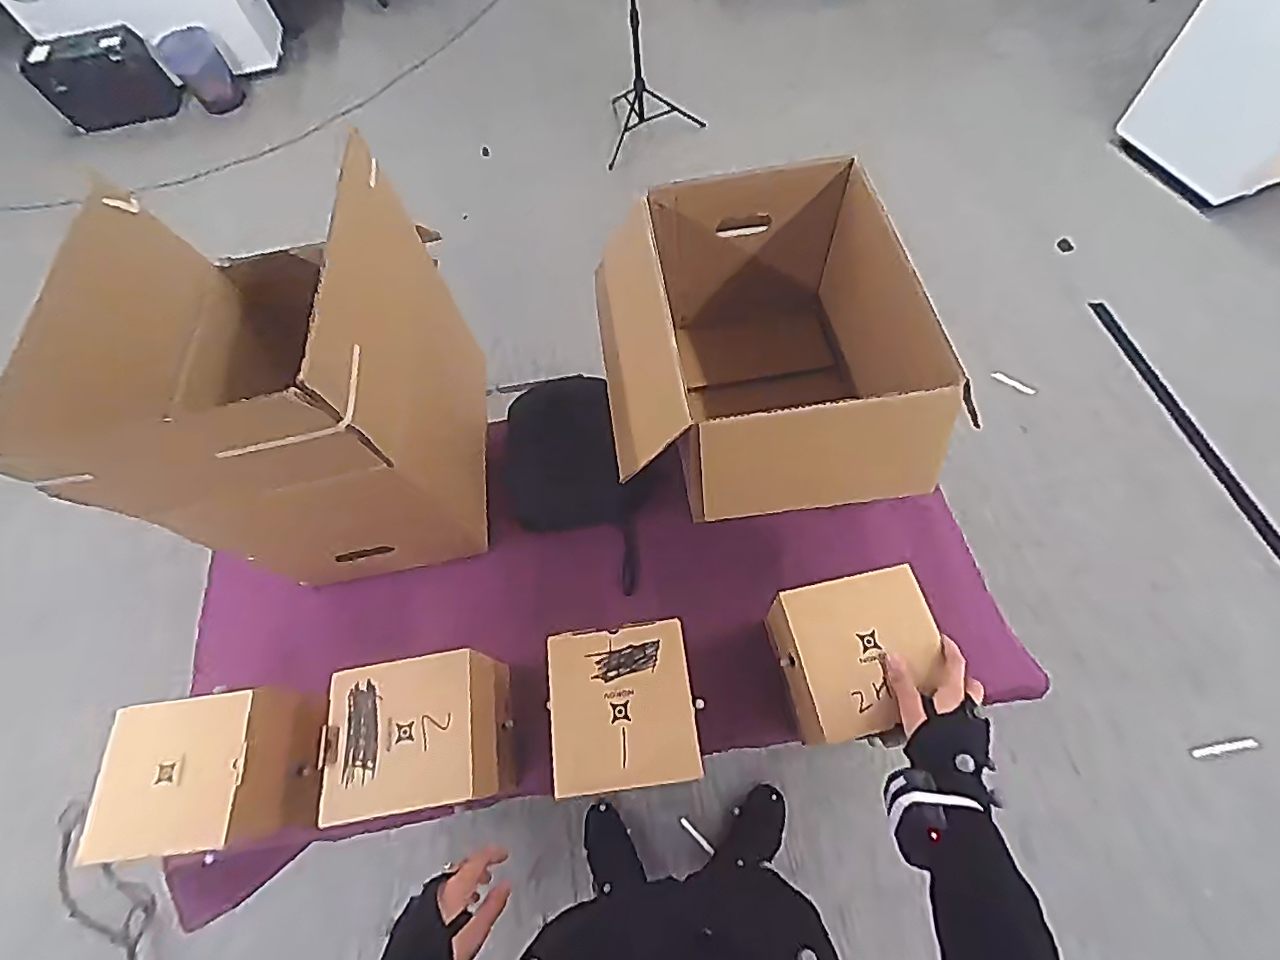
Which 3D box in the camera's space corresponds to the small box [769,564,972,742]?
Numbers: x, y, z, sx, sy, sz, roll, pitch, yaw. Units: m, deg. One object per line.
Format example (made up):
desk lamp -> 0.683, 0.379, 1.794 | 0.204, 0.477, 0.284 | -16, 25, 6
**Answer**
small box -> 0.274, 0.229, 0.696 | 0.168, 0.176, 0.179 | -13, 64, 1
